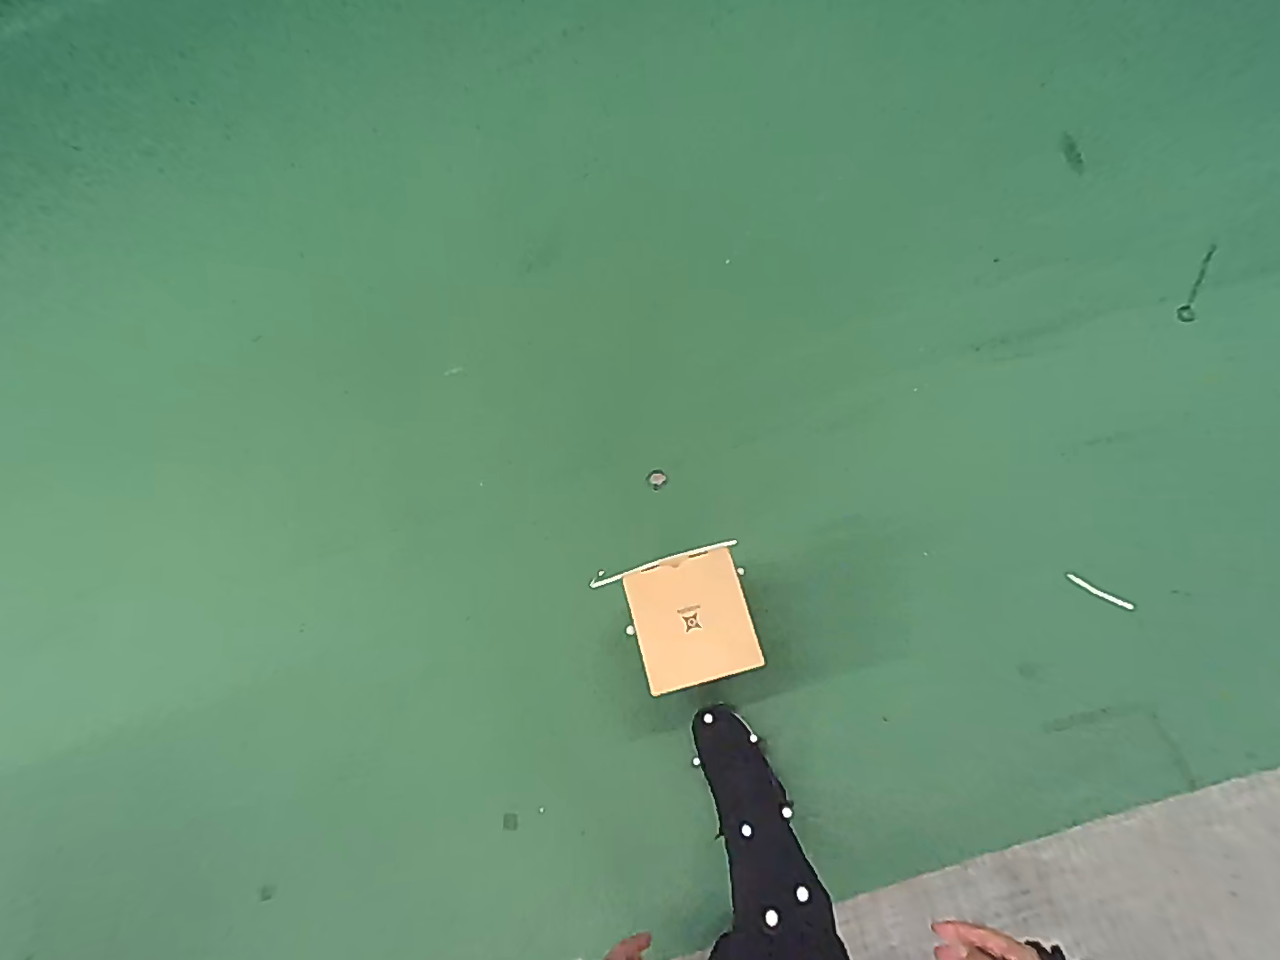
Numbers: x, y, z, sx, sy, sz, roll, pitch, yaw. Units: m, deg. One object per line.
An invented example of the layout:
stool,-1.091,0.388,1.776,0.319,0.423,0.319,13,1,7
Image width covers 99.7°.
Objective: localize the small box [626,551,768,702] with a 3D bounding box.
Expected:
small box,0.090,0.226,0.842,0.168,0.176,0.179,-17,72,2
